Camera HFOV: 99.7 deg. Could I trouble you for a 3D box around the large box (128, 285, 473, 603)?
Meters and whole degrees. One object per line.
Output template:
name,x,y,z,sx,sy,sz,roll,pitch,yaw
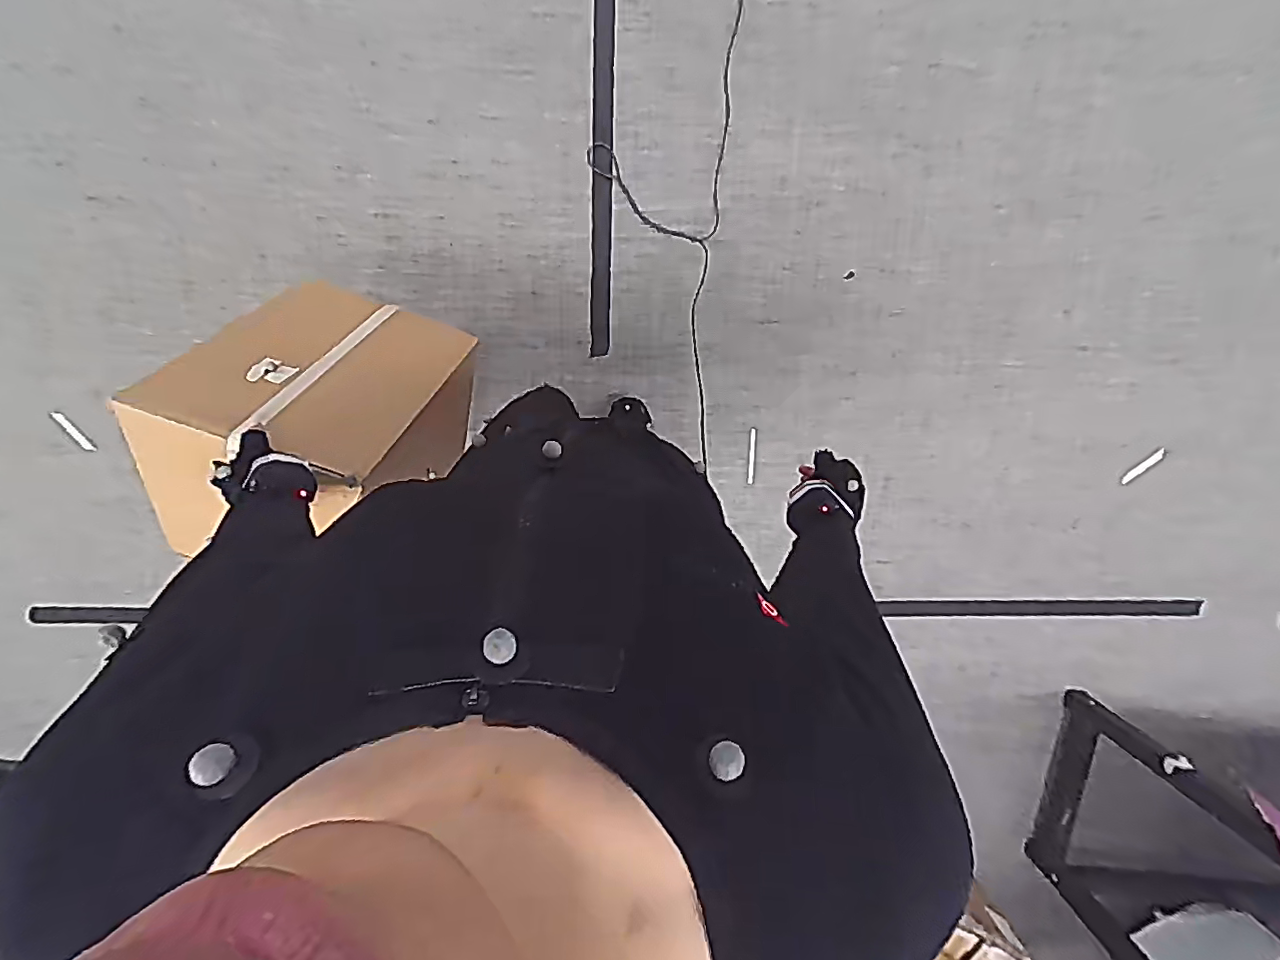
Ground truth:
large box,-0.521,-0.069,0.938,0.320,0.408,0.320,18,133,-4
